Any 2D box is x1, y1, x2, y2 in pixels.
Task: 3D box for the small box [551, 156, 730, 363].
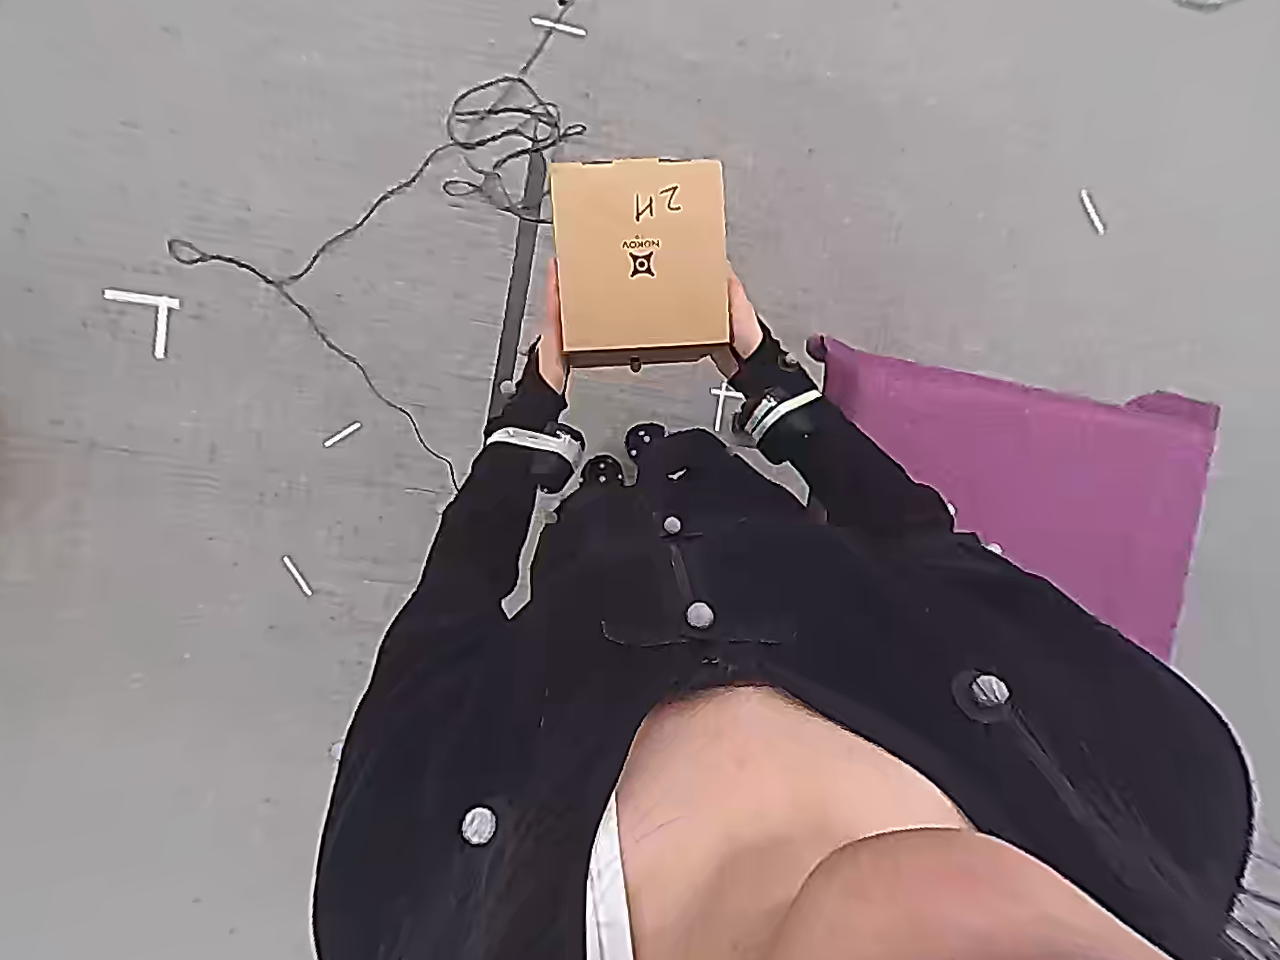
[{"bbox_3d":[-0.004,-0.224,0.595,0.168,0.176,0.179,-5,96,-5],"label":"small box"}]
